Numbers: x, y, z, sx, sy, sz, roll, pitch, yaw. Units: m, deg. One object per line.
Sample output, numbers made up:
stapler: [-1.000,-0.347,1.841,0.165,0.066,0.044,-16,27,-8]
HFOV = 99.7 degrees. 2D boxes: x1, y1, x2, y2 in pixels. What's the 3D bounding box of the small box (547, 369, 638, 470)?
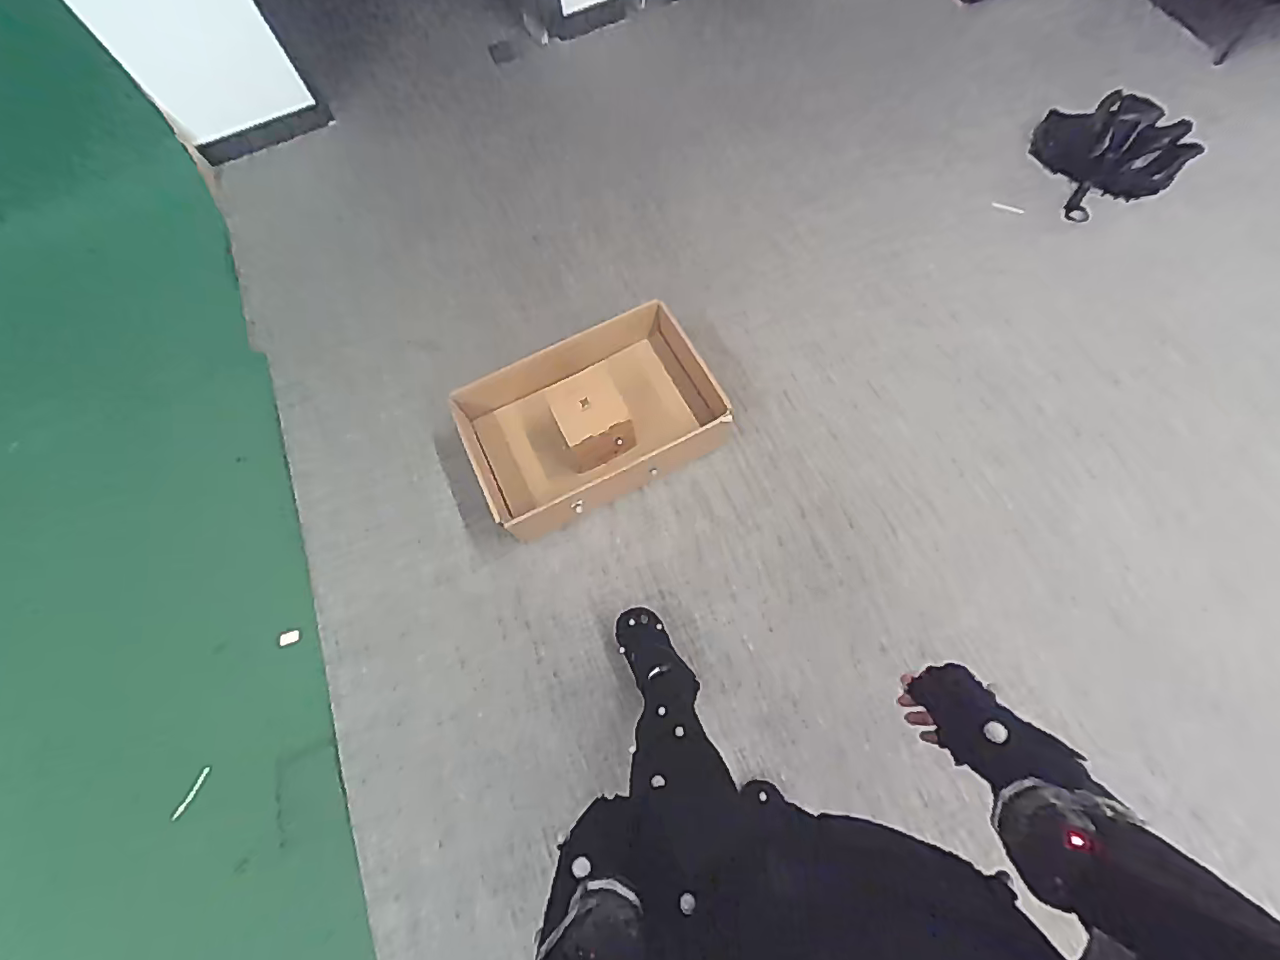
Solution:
small box: [-0.114,-0.144,1.385,0.168,0.176,0.179,-26,67,-7]
